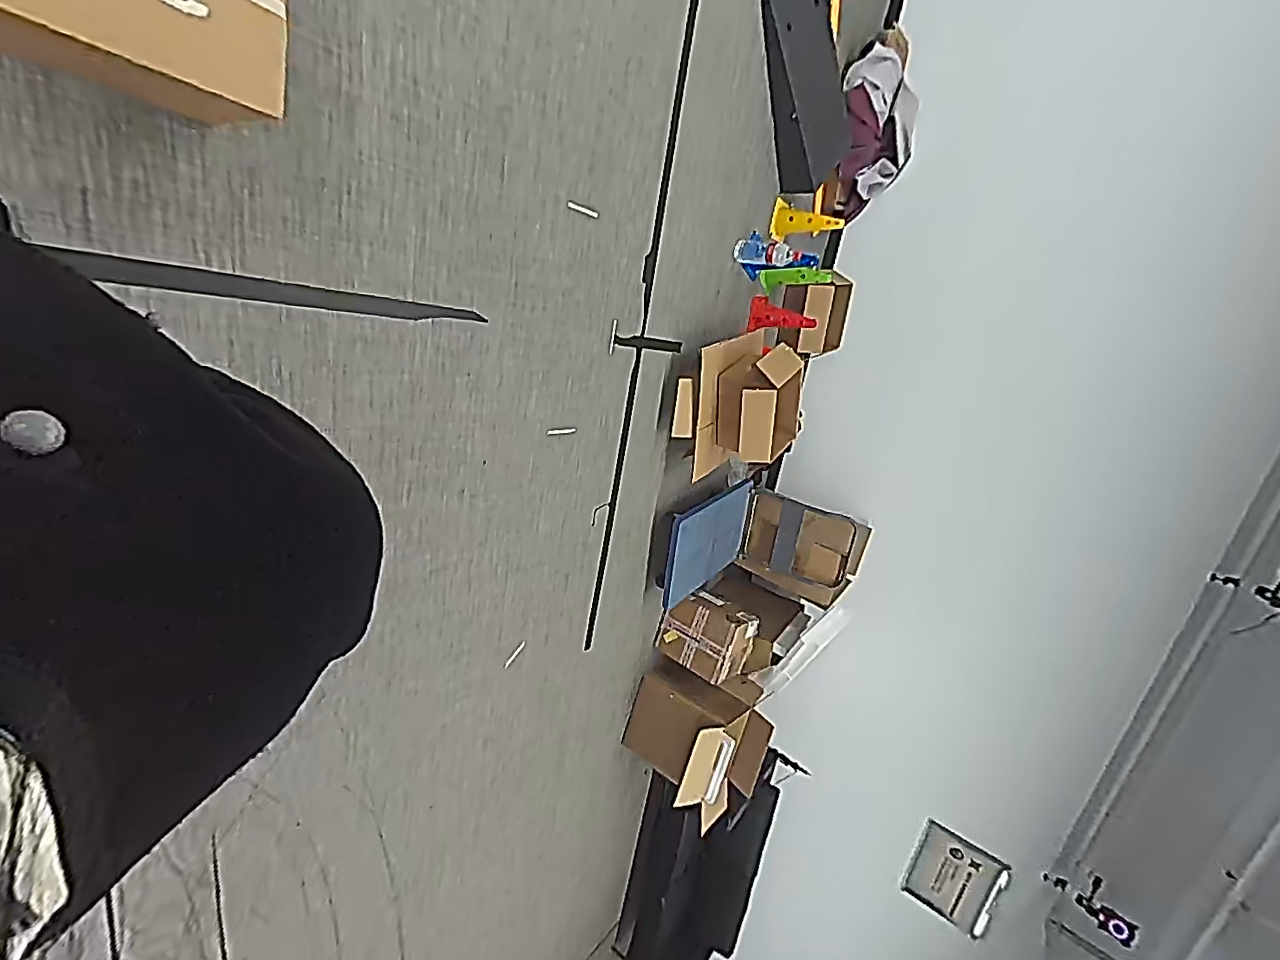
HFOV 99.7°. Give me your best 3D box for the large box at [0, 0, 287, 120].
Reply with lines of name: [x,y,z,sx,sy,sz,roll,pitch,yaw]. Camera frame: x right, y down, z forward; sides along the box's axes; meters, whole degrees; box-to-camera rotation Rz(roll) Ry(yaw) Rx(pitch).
large box: [-0.810,-0.790,0.797,0.408,0.320,0.320,-10,116,-55]
